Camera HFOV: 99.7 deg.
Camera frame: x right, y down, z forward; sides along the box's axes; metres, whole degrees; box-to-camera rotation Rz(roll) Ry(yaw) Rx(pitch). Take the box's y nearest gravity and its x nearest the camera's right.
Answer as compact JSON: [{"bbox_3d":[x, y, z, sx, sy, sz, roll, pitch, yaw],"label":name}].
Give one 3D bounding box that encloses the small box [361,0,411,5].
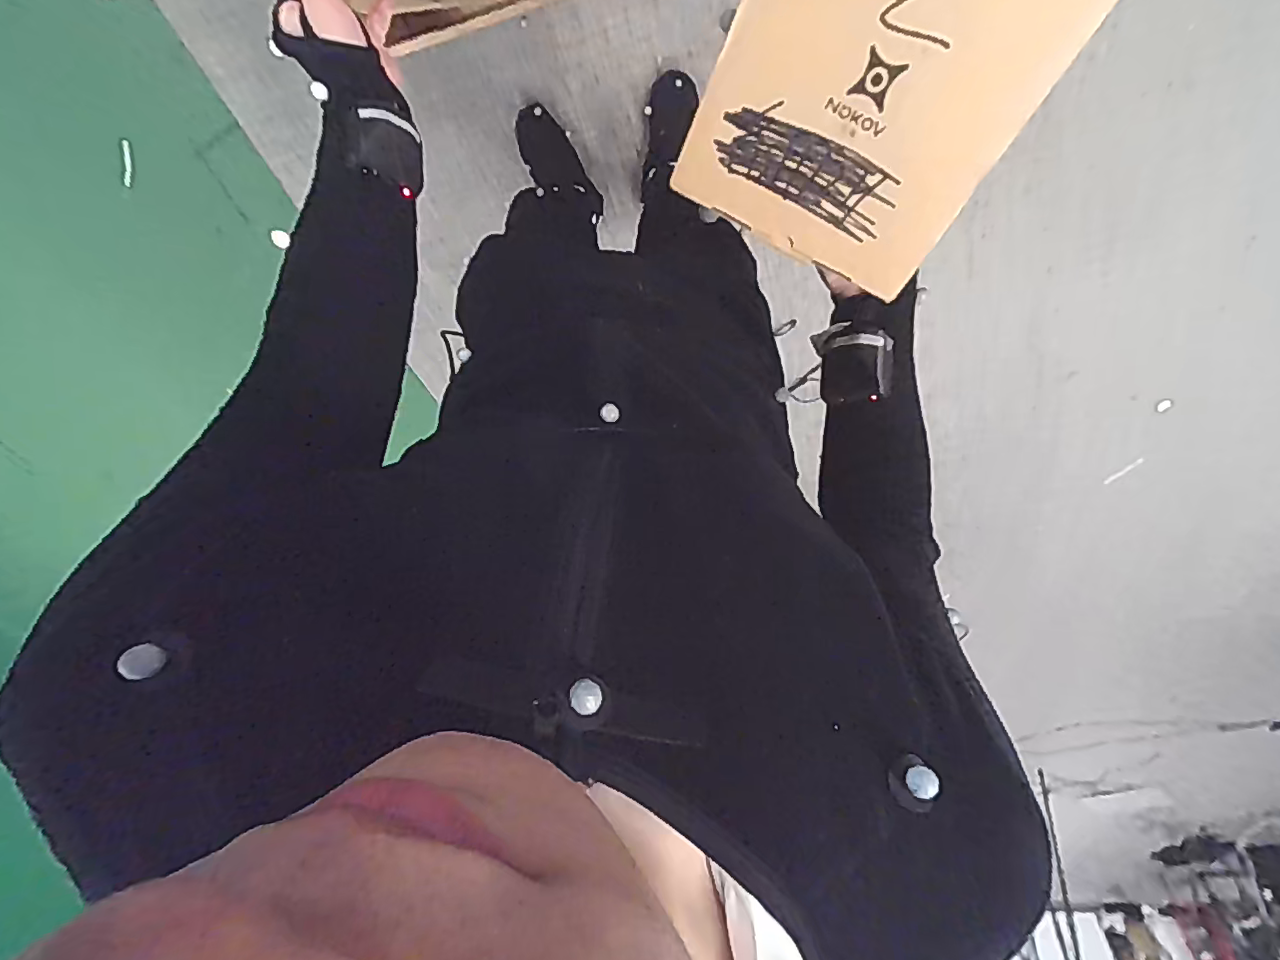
[{"bbox_3d":[-0.246,-0.553,0.476,0.168,0.176,0.179,7,117,12],"label":"small box"}]
